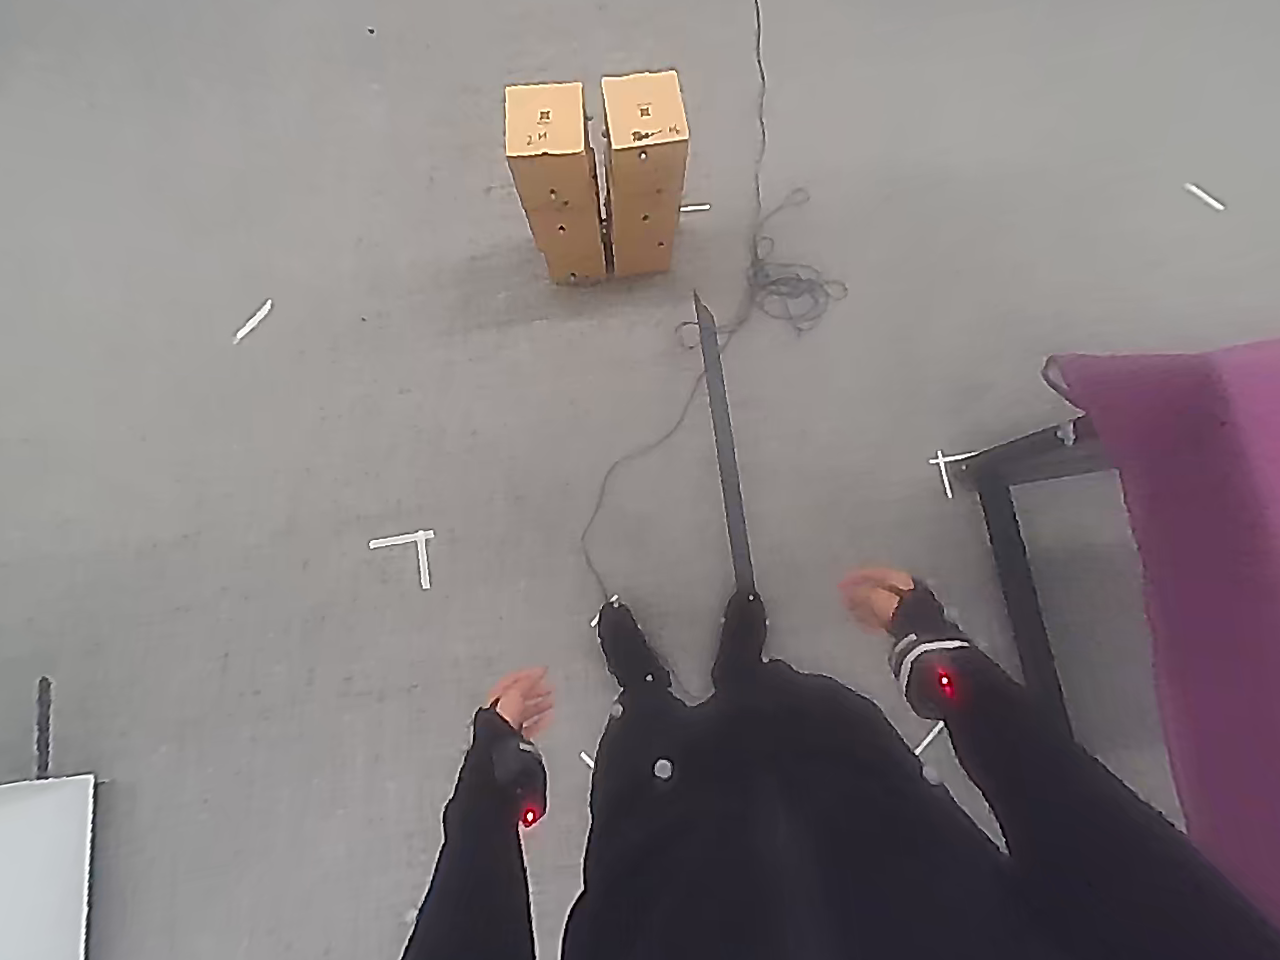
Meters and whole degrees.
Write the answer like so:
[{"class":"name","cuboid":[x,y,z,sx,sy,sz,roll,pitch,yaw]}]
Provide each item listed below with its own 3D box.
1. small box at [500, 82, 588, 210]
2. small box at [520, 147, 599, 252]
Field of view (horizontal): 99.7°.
[{"class":"small box","cuboid":[-0.208,-0.734,1.201,0.168,0.176,0.179,-3,81,1]},{"class":"small box","cuboid":[-0.198,-0.699,1.362,0.179,0.176,0.168,-4,80,2]}]
